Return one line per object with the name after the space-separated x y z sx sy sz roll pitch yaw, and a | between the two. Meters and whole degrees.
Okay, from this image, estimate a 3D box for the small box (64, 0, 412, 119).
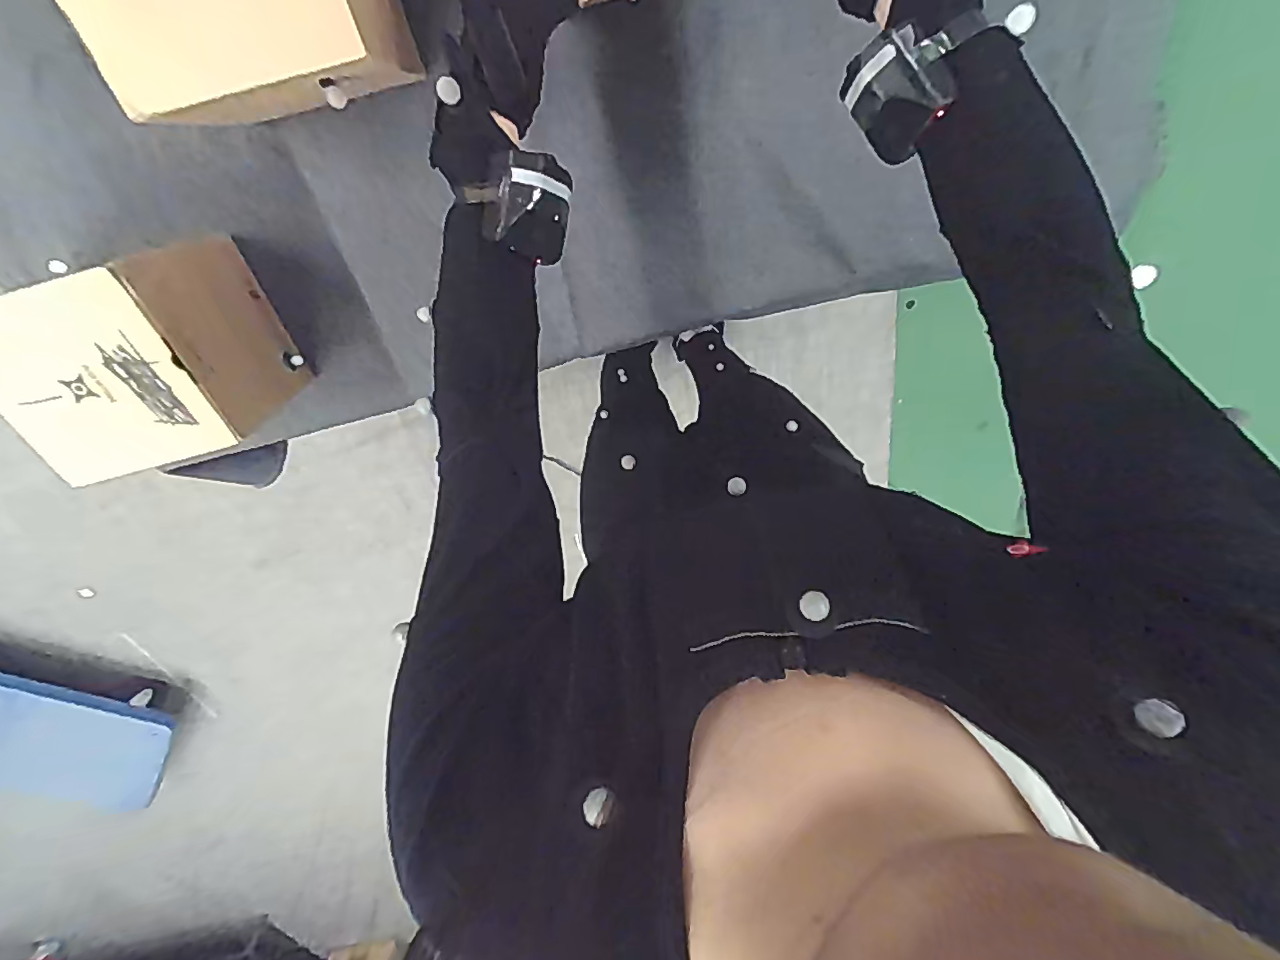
-0.287 -0.377 0.392 0.179 0.176 0.168 -12 123 2 | small box

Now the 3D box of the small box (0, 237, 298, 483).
-0.477 -0.125 0.531 0.179 0.176 0.168 -14 122 3 | small box
